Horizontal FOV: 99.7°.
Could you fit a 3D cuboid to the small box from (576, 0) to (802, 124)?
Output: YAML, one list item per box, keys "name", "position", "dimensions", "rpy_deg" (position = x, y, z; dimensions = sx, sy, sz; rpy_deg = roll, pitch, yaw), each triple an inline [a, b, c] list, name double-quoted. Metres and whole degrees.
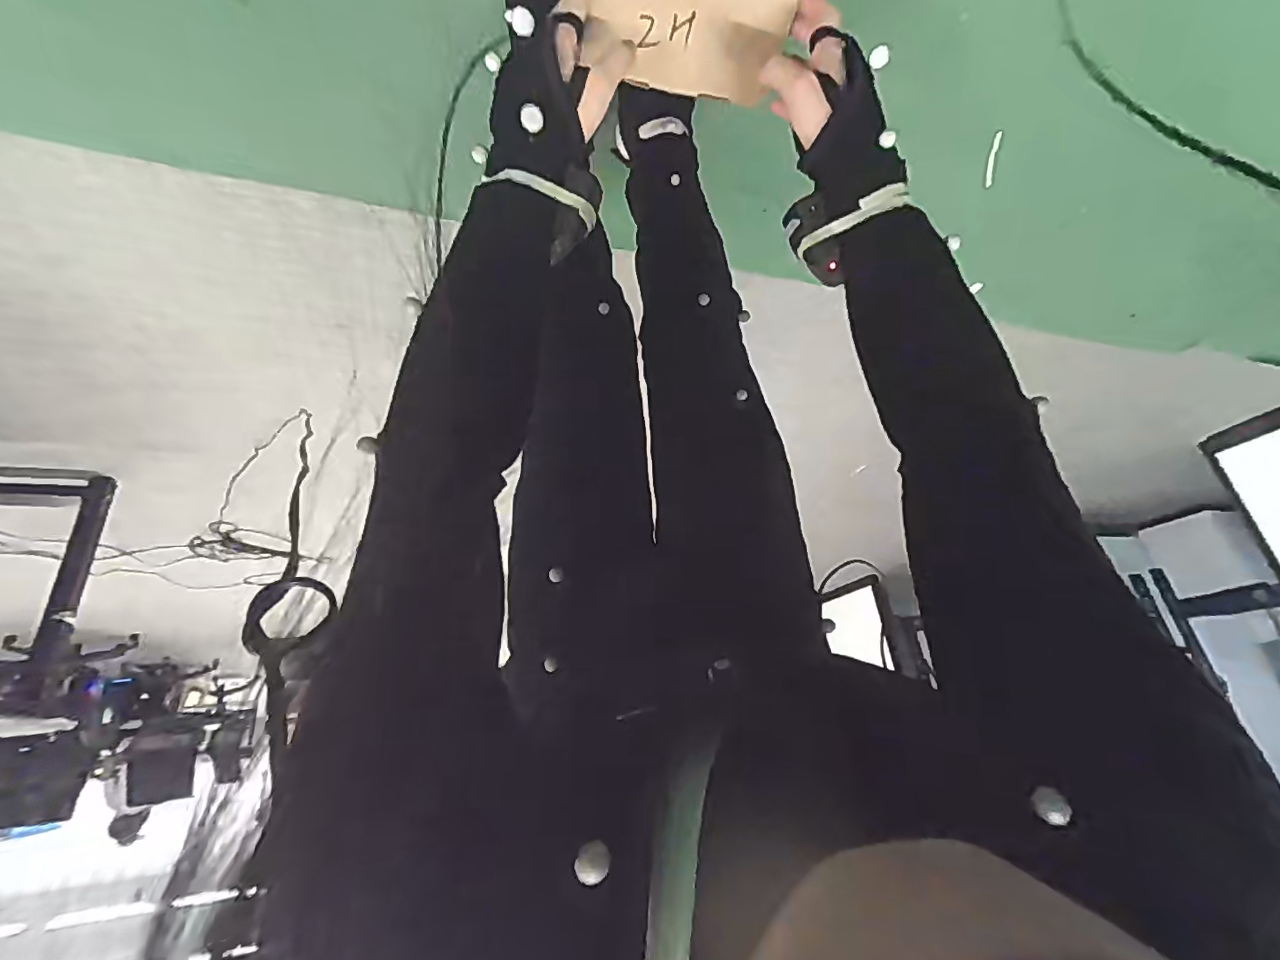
- name: "small box"
  position: [0.038, -0.440, 0.448]
  dimensions: [0.168, 0.176, 0.179]
  rpy_deg: [4, 143, -12]
